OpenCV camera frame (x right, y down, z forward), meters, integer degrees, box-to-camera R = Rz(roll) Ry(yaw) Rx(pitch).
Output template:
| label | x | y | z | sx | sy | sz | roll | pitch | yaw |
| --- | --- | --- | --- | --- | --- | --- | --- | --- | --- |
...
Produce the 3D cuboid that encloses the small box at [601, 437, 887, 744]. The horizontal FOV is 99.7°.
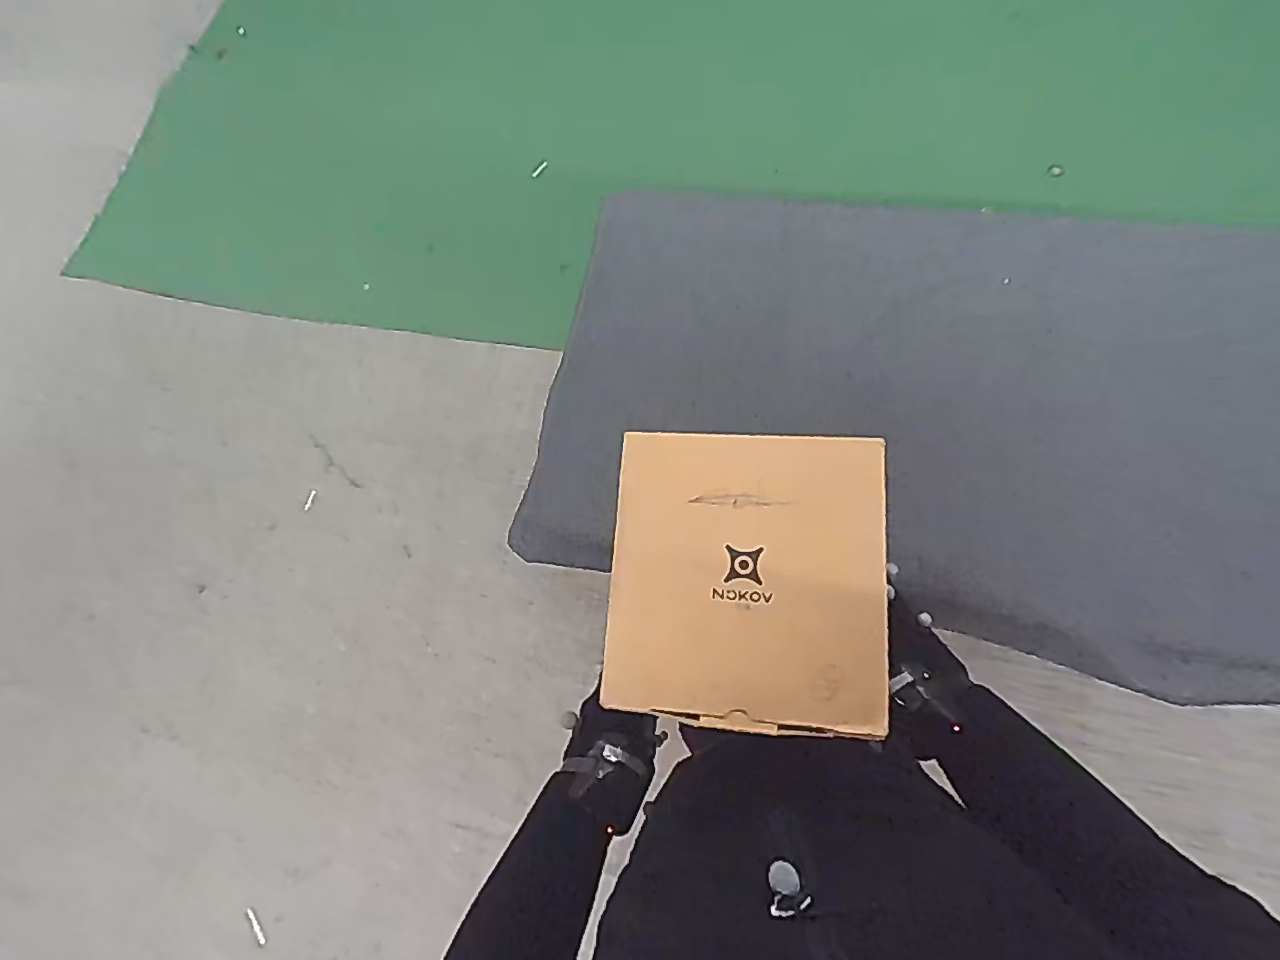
| label | x | y | z | sx | sy | sz | roll | pitch | yaw |
| --- | --- | --- | --- | --- | --- | --- | --- | --- | --- |
| small box | 0.075 | 0.078 | 0.406 | 0.168 | 0.176 | 0.179 | 2 | 76 | 9 |
